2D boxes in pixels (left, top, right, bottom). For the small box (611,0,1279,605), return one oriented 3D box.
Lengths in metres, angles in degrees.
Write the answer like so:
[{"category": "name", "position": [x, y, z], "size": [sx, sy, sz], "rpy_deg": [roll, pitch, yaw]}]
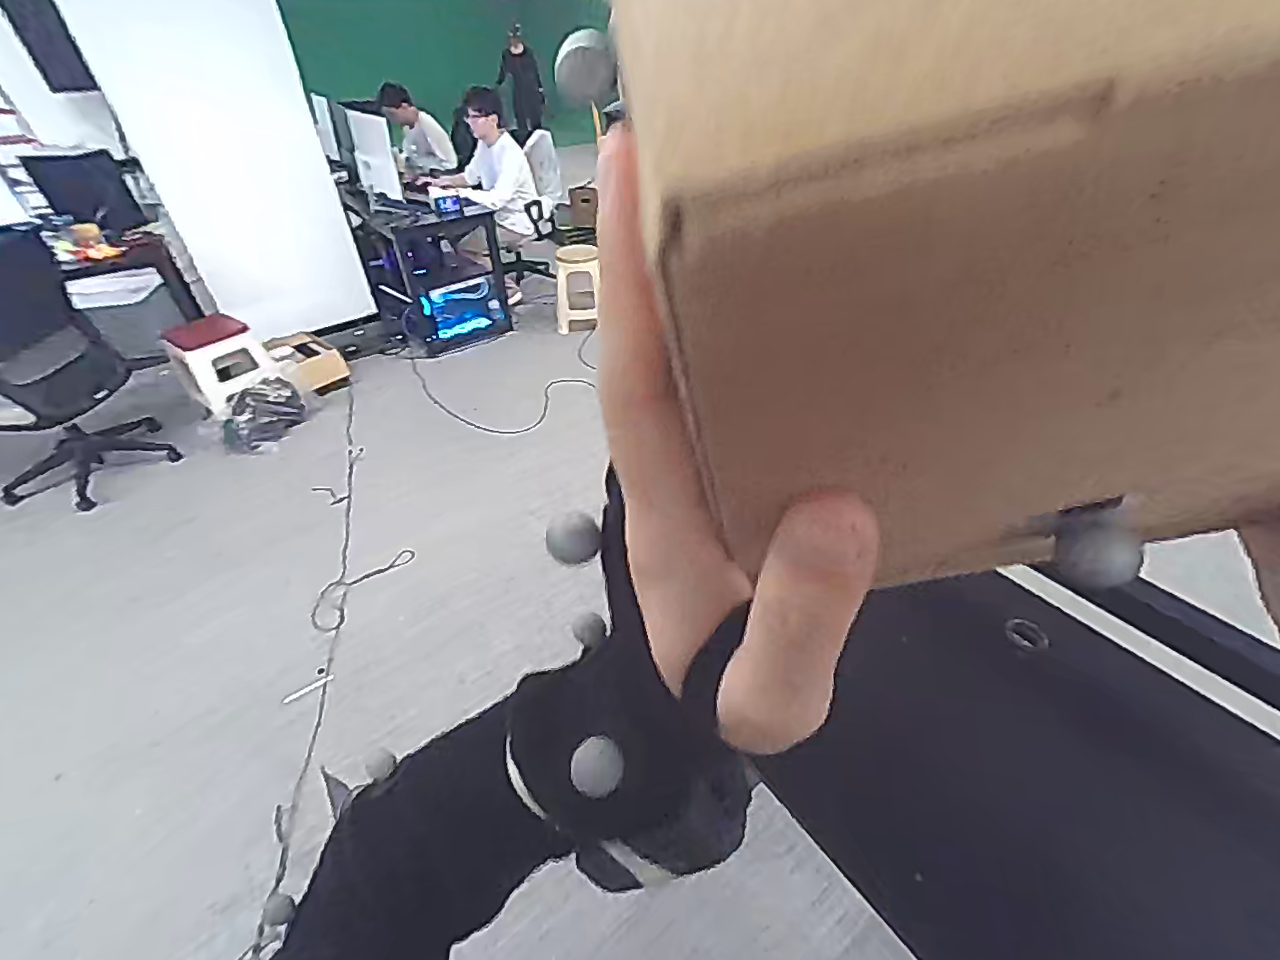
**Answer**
[{"category": "small box", "position": [0.085, -0.082, 0.137], "size": [0.168, 0.176, 0.179], "rpy_deg": [-13, 65, 8]}]
